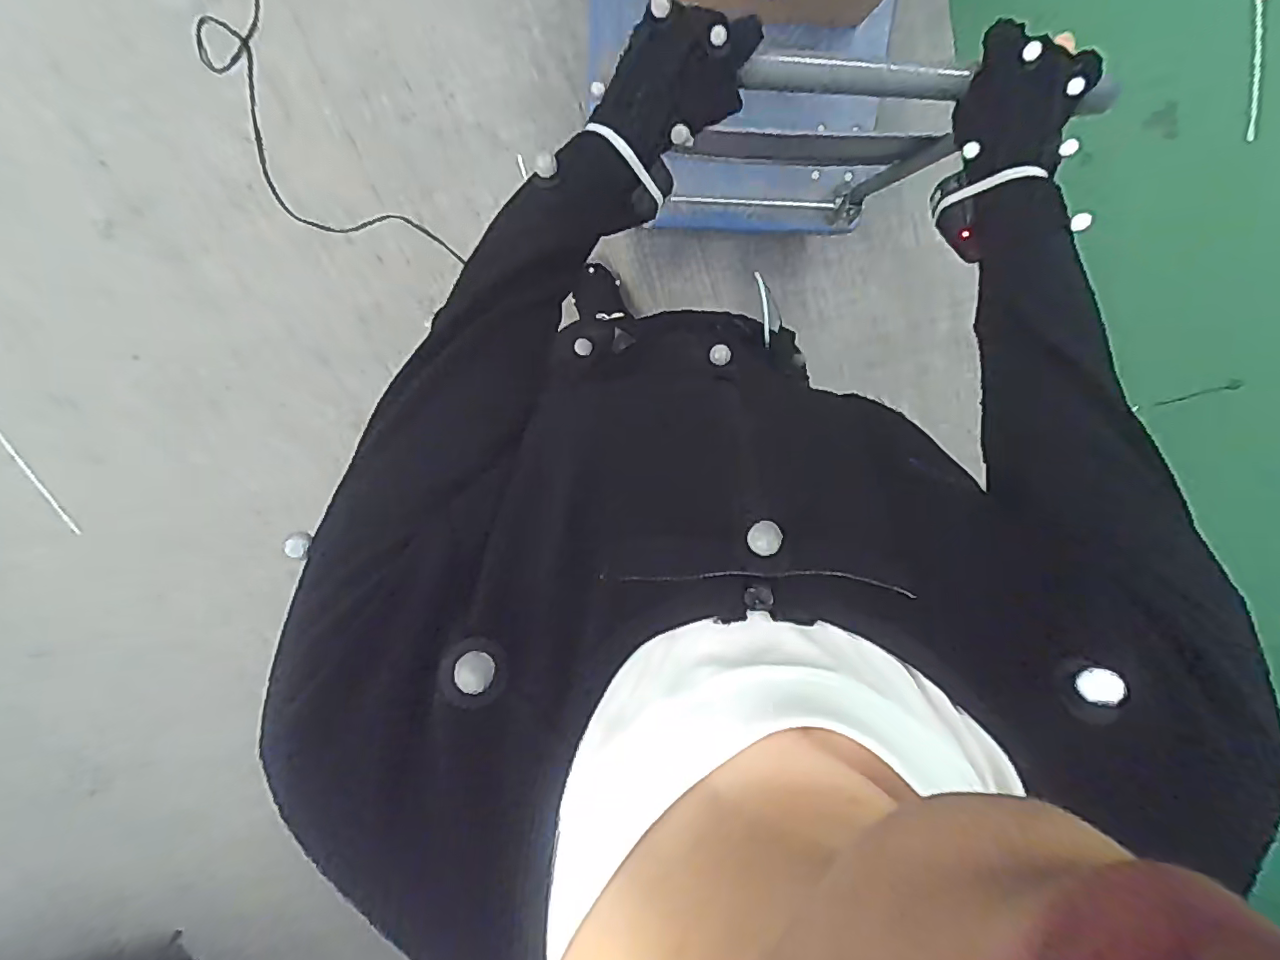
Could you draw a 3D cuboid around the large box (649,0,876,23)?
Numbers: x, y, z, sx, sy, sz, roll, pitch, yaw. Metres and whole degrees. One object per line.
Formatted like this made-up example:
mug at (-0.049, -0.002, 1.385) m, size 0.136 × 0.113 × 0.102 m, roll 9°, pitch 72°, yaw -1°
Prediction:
large box at (0.223, -0.957, 0.833) m, size 0.408 × 0.320 × 0.320 m, roll 0°, pitch 110°, yaw -2°
